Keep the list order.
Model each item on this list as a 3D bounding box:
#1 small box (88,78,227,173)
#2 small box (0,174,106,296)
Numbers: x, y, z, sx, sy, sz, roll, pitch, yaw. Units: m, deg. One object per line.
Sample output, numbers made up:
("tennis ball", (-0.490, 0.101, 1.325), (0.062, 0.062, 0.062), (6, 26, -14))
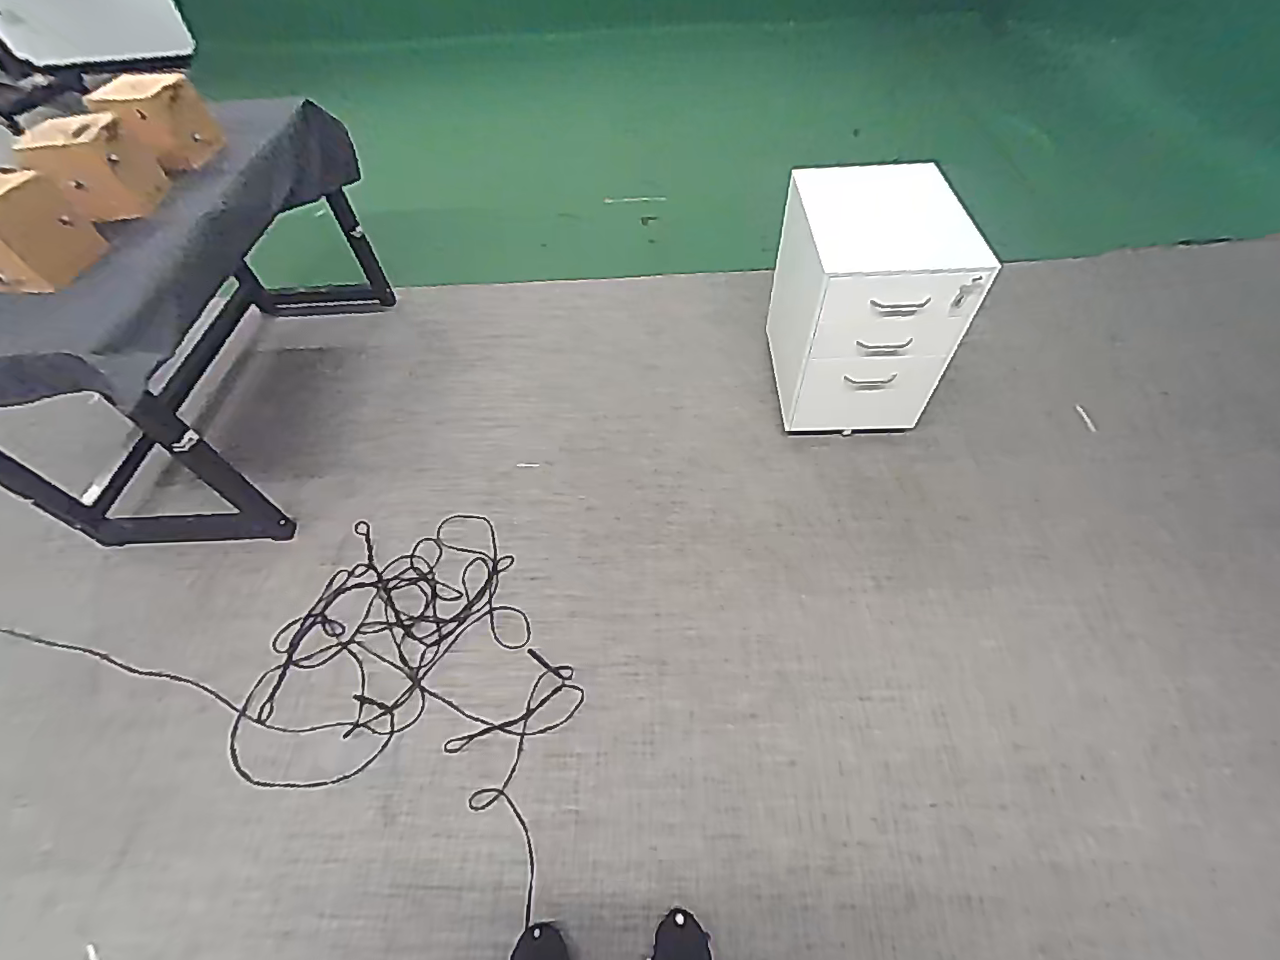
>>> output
("small box", (-1.262, -0.933, 1.429), (0.179, 0.176, 0.168), (3, 54, 5))
("small box", (-1.274, -0.501, 1.109), (0.168, 0.176, 0.179), (1, 54, 6))
